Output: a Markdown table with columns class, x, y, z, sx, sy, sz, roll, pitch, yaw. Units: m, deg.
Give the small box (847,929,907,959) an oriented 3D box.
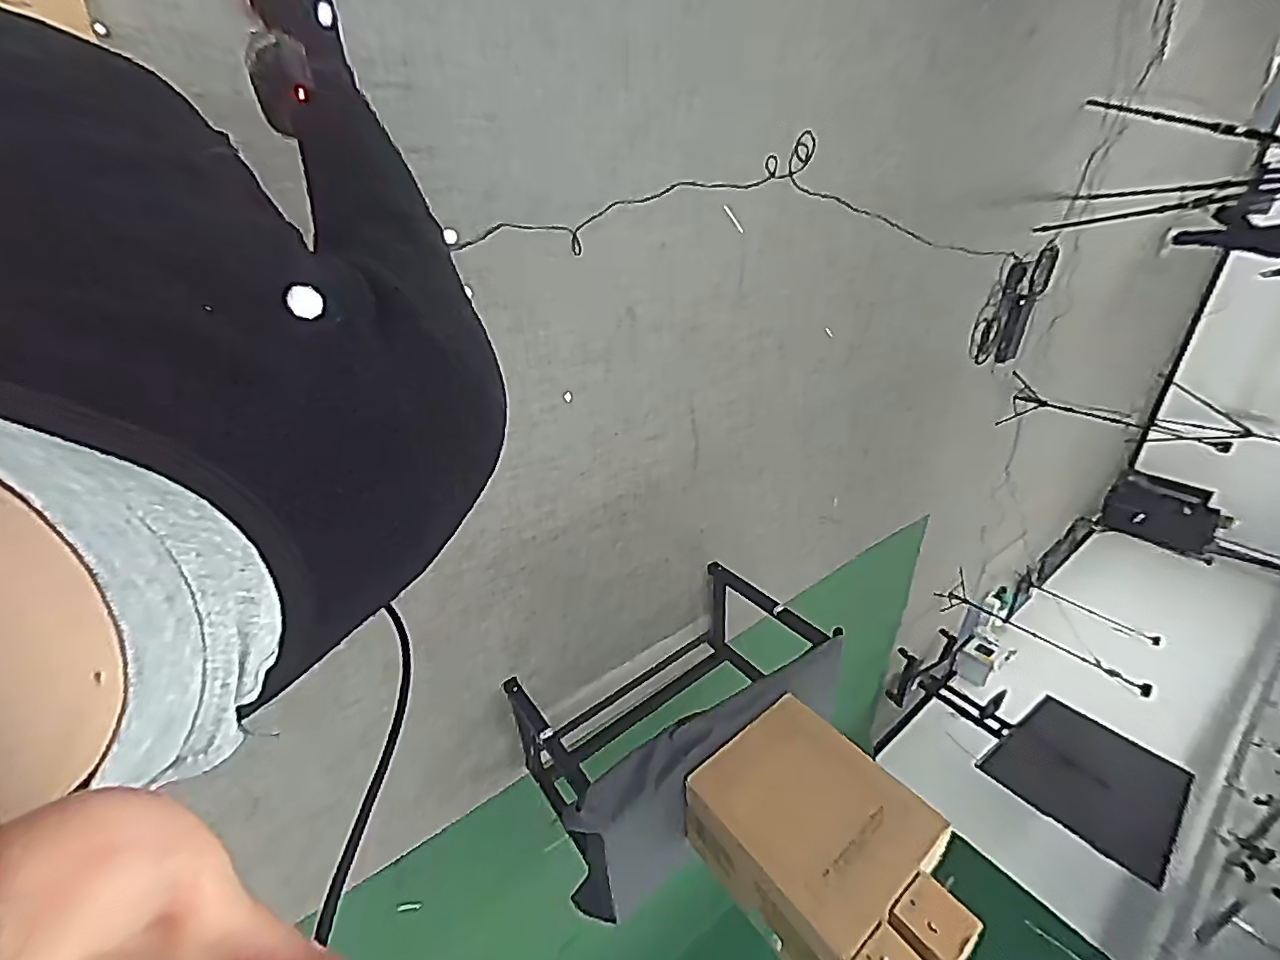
| class | x | y | z | sx | sy | sz | roll | pitch | yaw |
| --- | --- | --- | --- | --- | --- | --- | --- | --- | --- |
| small box | 0.625 | 1.319 | 1.391 | 0.168 | 0.176 | 0.179 | -24 | 125 | -28 |
